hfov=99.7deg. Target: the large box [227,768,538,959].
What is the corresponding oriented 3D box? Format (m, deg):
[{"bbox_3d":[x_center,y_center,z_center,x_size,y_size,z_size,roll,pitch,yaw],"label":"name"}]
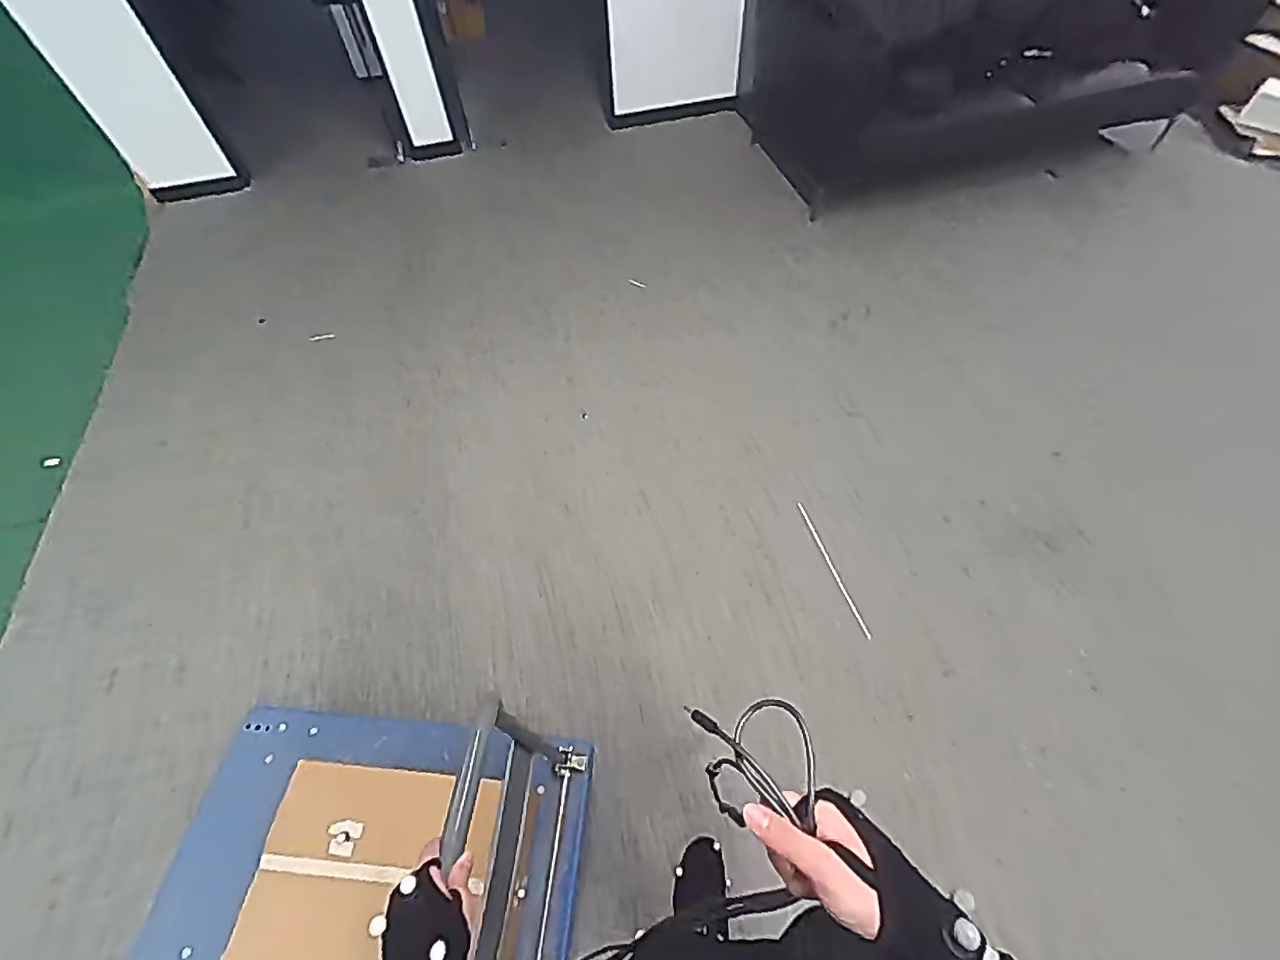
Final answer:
[{"bbox_3d":[-0.439,0.749,1.027,0.408,0.320,0.320,3,56,5],"label":"large box"}]
